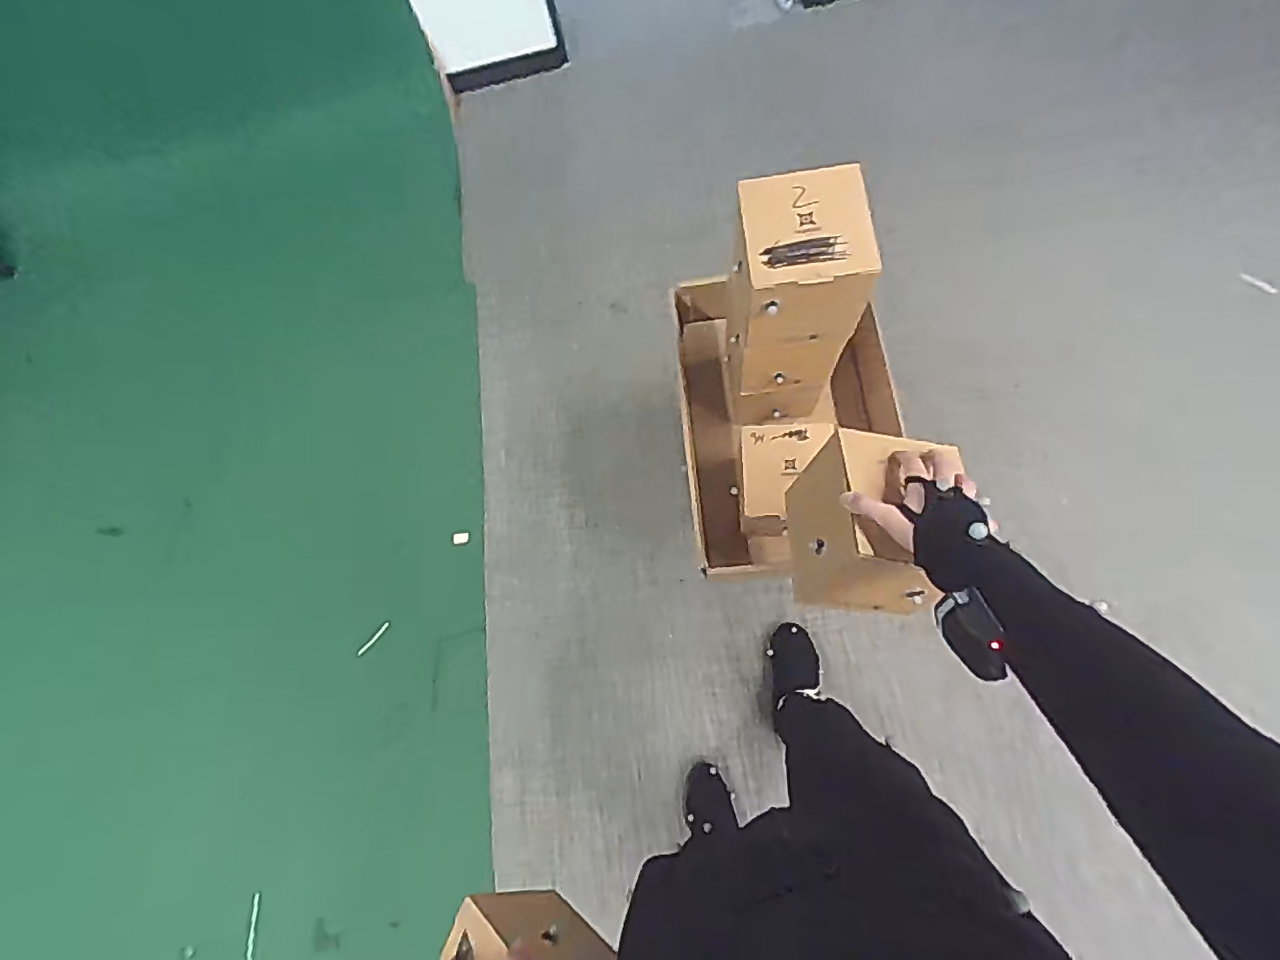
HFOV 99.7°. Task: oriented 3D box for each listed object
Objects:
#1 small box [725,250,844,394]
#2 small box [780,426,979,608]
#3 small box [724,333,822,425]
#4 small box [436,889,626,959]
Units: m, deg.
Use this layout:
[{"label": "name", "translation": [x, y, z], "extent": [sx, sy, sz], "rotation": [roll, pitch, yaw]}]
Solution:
[{"label": "small box", "translation": [0.244, -0.272, 0.959], "extent": [0.168, 0.176, 0.179], "rotation": [-7, 74, 5]}, {"label": "small box", "translation": [0.297, 0.057, 0.714], "extent": [0.168, 0.176, 0.179], "rotation": [9, 58, -7]}, {"label": "small box", "translation": [0.264, -0.231, 1.114], "extent": [0.168, 0.176, 0.179], "rotation": [-6, 74, 6]}, {"label": "small box", "translation": [-0.143, 0.636, 0.658], "extent": [0.179, 0.176, 0.168], "rotation": [8, 67, 42]}]
